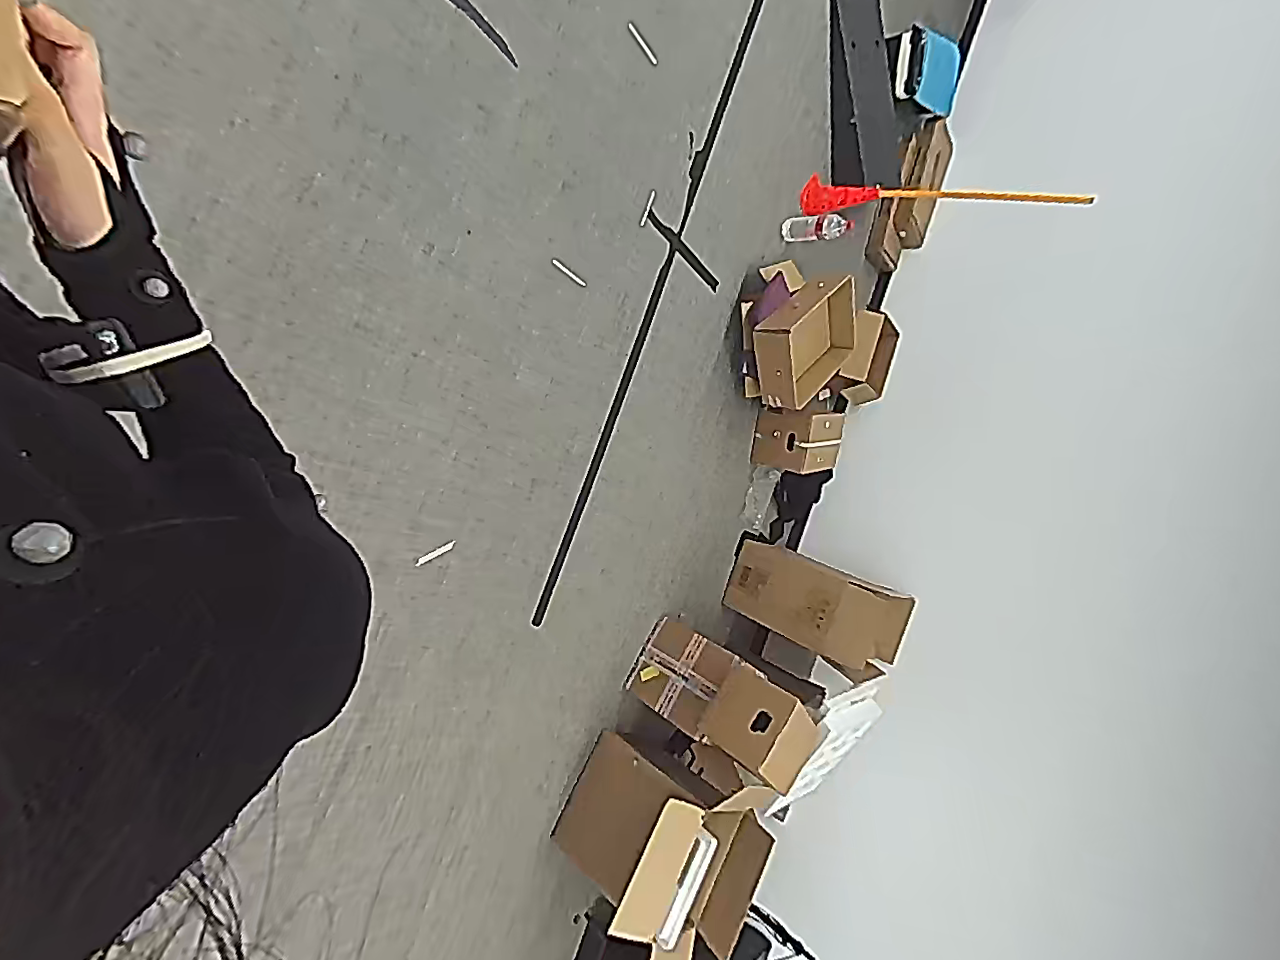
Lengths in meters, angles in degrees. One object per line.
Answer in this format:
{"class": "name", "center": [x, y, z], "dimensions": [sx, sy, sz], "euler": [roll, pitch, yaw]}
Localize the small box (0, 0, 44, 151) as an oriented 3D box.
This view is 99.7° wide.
{"class": "small box", "center": [-0.356, -0.247, 0.199], "dimensions": [0.168, 0.176, 0.179], "euler": [-9, 109, -53]}
